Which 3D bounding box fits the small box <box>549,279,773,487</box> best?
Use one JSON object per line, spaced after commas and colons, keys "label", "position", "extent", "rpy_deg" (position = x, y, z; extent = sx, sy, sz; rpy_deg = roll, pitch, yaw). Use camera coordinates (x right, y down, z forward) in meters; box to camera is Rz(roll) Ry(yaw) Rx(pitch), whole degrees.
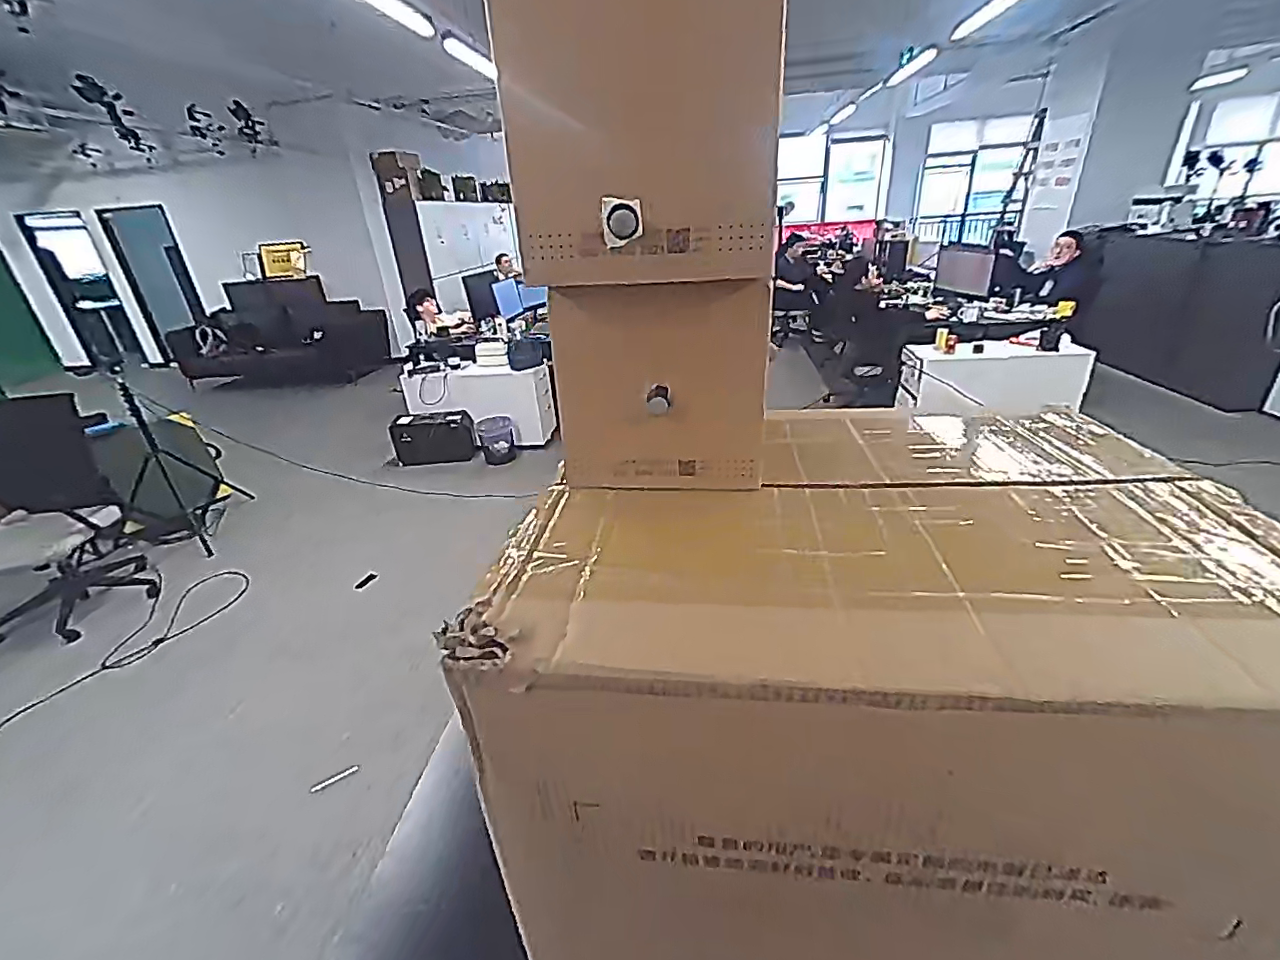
{"label": "small box", "position": [0.028, -0.102, 0.491], "extent": [0.168, 0.176, 0.179], "rpy_deg": [1, 26, 7]}

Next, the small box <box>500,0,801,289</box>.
{"label": "small box", "position": [0.012, -0.234, 0.390], "extent": [0.168, 0.176, 0.179], "rpy_deg": [-2, 26, 5]}
